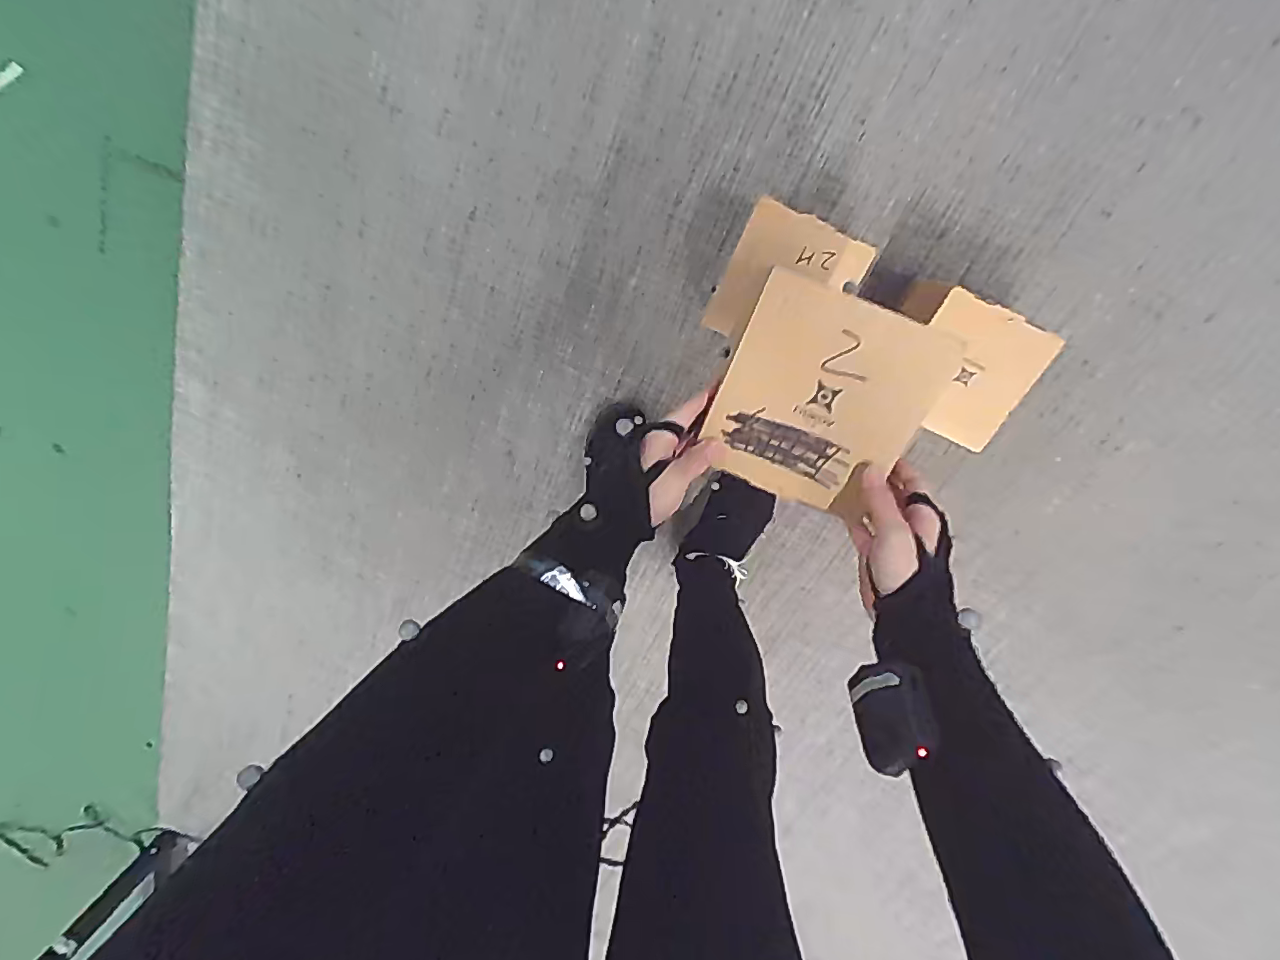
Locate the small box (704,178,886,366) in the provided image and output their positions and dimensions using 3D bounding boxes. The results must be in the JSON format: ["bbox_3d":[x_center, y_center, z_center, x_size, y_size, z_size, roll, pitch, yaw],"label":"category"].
[{"bbox_3d":[0.206,-0.288,0.758,0.168,0.176,0.179,27,115,-2],"label":"small box"}]

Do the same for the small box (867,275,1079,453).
[{"bbox_3d":[0.447,-0.171,0.767,0.168,0.176,0.179,27,115,-1],"label":"small box"}]
